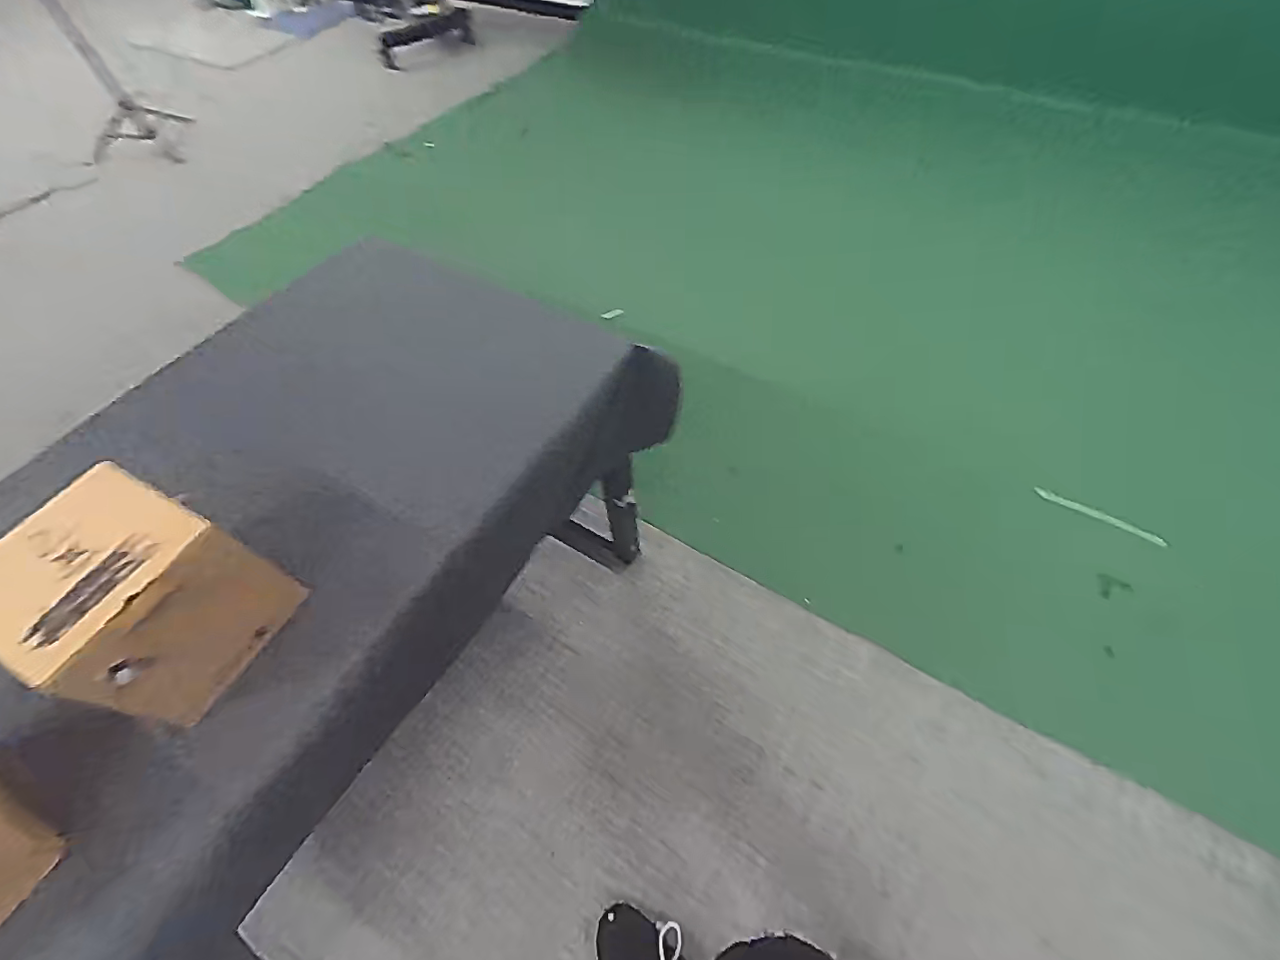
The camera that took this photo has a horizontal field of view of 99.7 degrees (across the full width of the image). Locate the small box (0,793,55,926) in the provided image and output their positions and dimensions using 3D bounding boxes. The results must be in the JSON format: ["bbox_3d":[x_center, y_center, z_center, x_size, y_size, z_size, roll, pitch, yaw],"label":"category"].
[{"bbox_3d":[-0.647,0.329,0.417,0.179,0.176,0.168,21,59,16],"label":"small box"}]
